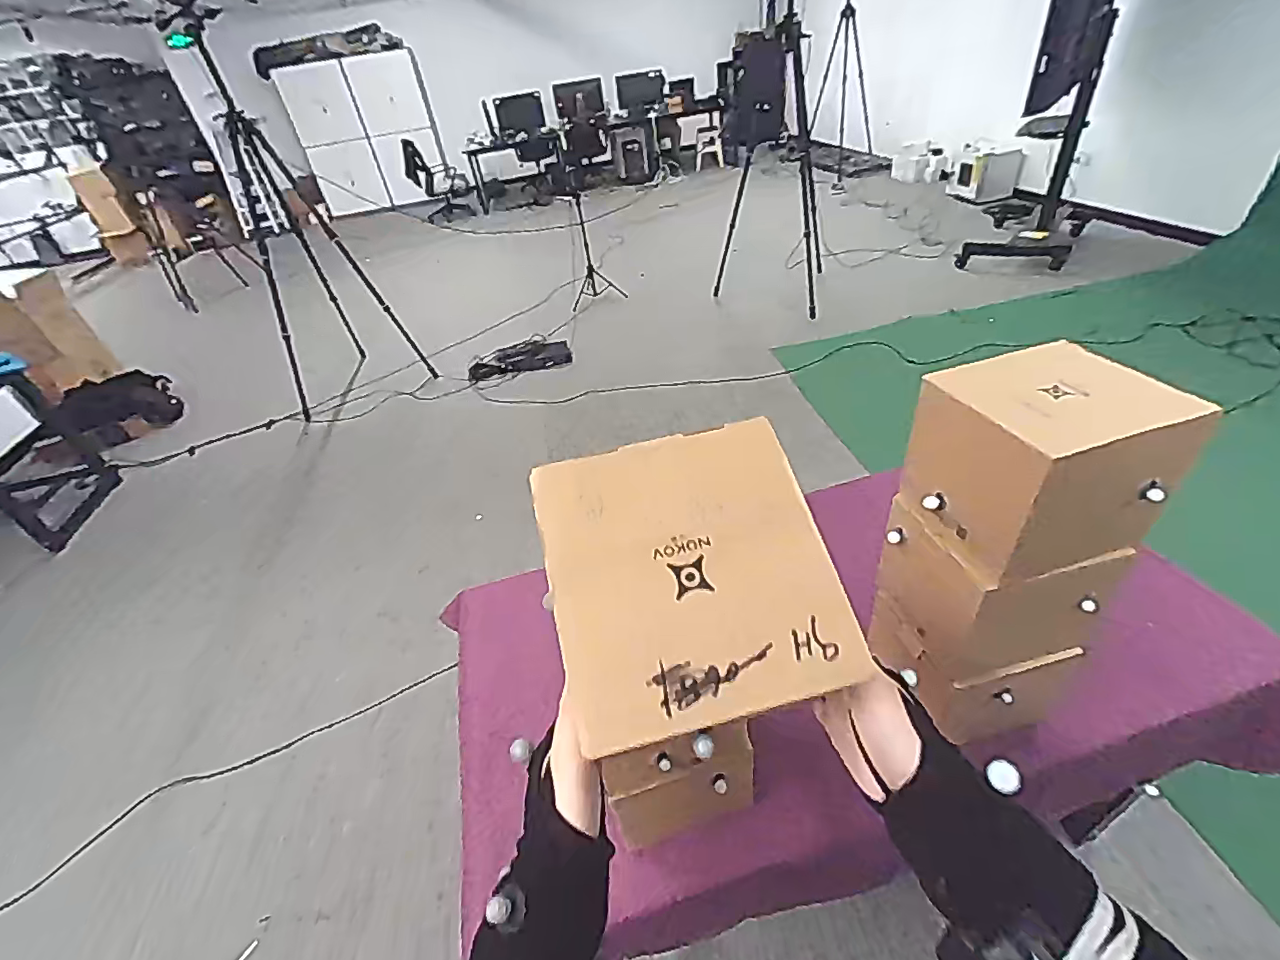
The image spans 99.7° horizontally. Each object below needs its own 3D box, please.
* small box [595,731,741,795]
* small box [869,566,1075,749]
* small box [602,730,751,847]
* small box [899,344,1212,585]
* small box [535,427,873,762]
[{"bbox_3d":[0.009,0.221,0.624,0.168,0.176,0.179,-15,40,-7],"label":"small box"},{"bbox_3d":[0.444,0.247,0.761,0.179,0.176,0.168,-14,39,-5],"label":"small box"},{"bbox_3d":[0.035,0.350,0.722,0.179,0.176,0.168,-16,38,-7],"label":"small box"},{"bbox_3d":[0.407,-0.018,0.571,0.179,0.176,0.168,-15,38,-7],"label":"small box"},{"bbox_3d":[0.029,0.091,0.391,0.168,0.176,0.179,-13,64,-5],"label":"small box"}]
